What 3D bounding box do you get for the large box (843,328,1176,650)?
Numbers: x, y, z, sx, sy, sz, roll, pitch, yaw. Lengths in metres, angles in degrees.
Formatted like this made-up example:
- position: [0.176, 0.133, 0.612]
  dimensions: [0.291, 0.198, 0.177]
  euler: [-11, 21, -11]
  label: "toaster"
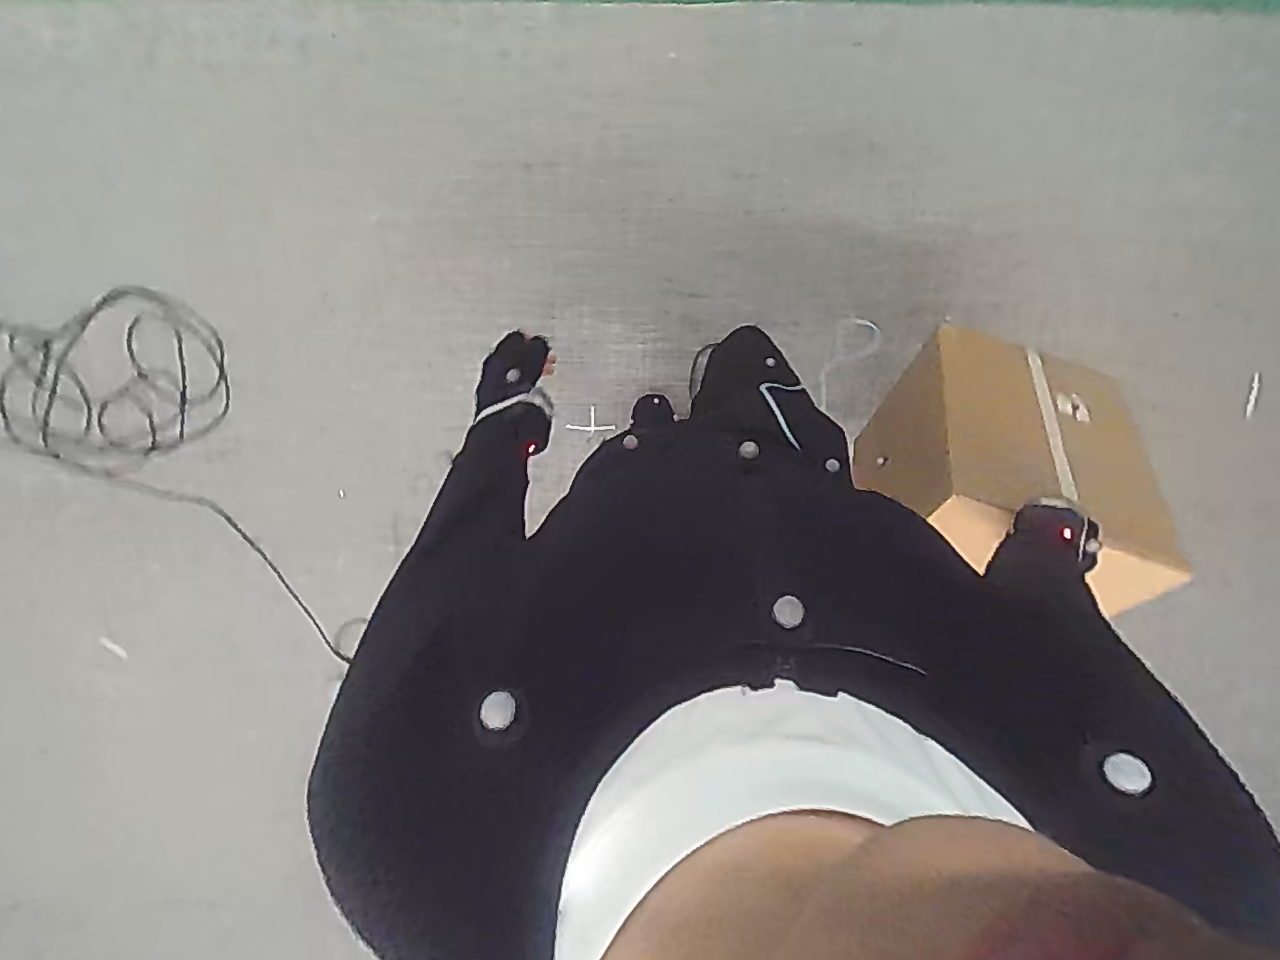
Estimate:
- position: [0.571, 0.014, 0.933]
  dimensions: [0.320, 0.408, 0.320]
  euler: [20, 141, 3]
  label: "large box"
